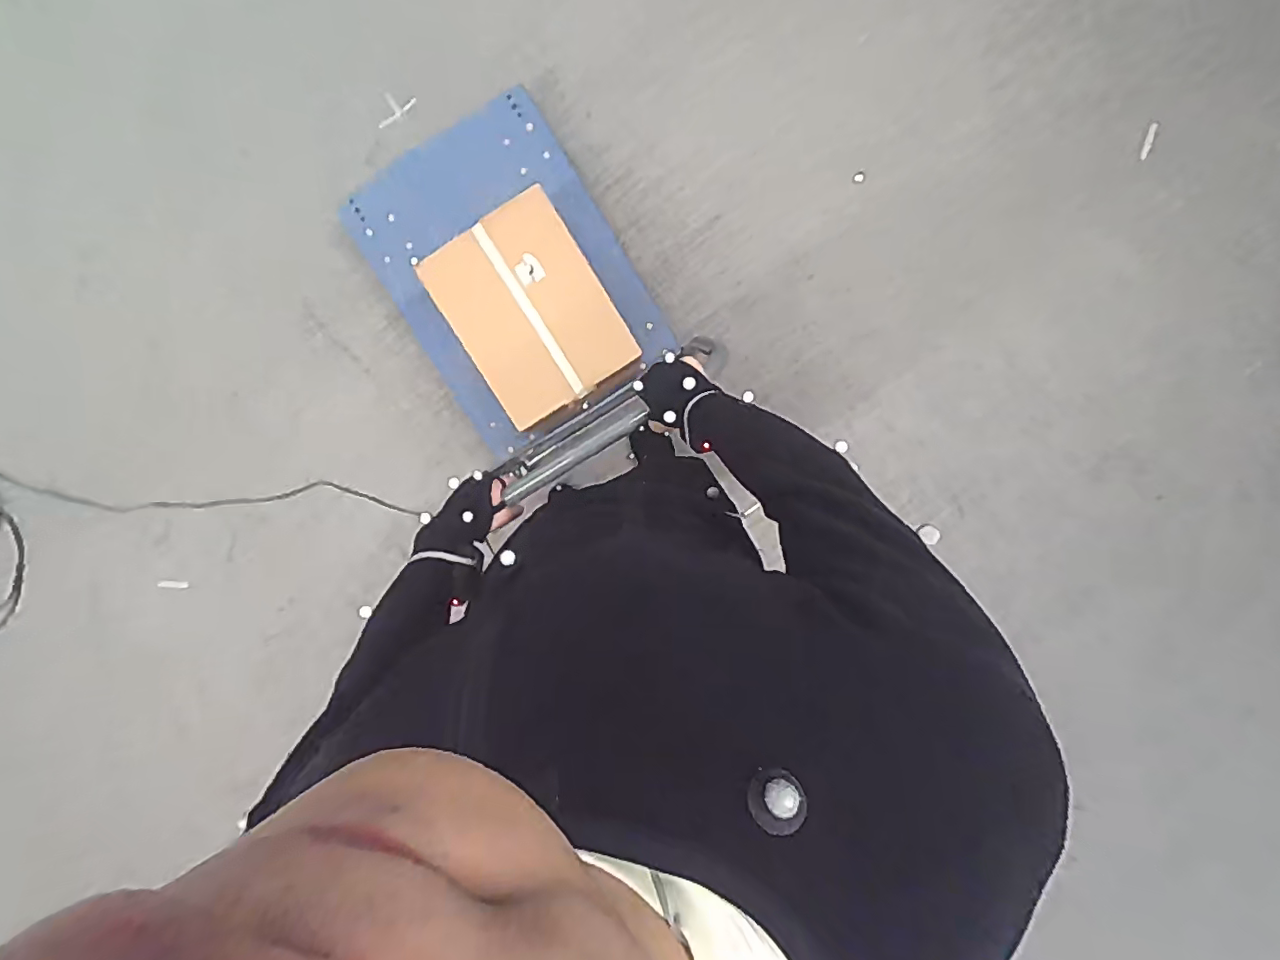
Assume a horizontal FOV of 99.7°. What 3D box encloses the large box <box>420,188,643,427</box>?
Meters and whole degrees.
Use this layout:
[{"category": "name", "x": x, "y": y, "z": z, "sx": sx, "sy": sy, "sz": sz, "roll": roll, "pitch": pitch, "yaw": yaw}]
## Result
[{"category": "large box", "x": -0.226, "y": -0.372, "z": 1.282, "sx": 0.320, "sy": 0.320, "sz": 0.408, "roll": -32, "pitch": 94, "yaw": 3}]
